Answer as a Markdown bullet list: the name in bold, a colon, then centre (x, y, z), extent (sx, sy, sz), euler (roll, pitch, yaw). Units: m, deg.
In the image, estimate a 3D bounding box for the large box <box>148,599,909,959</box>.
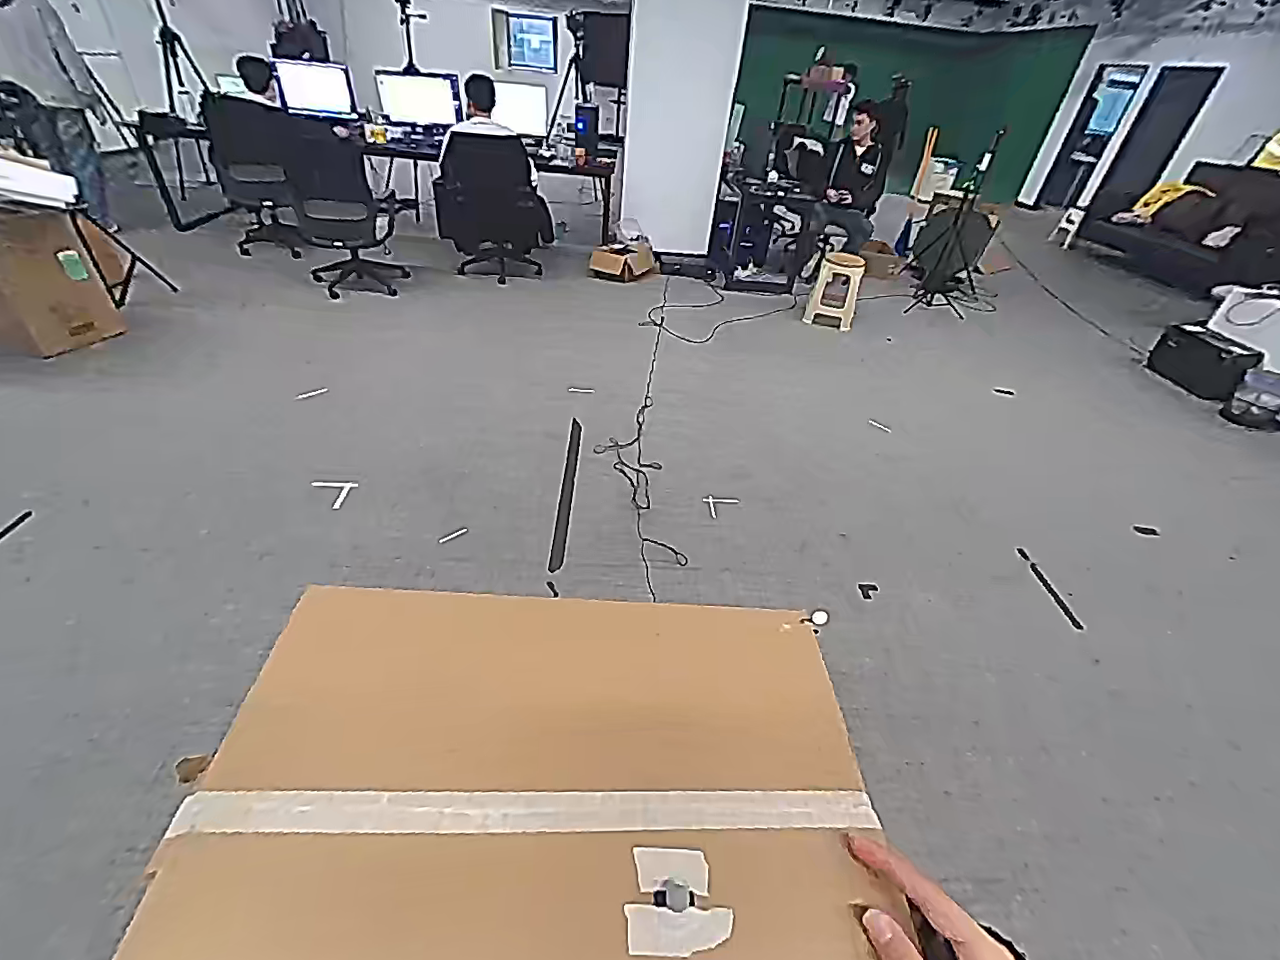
- **large box**: centre (-0.070, 0.320, 0.430), extent (0.408, 0.320, 0.320), euler (5, 42, -8)
